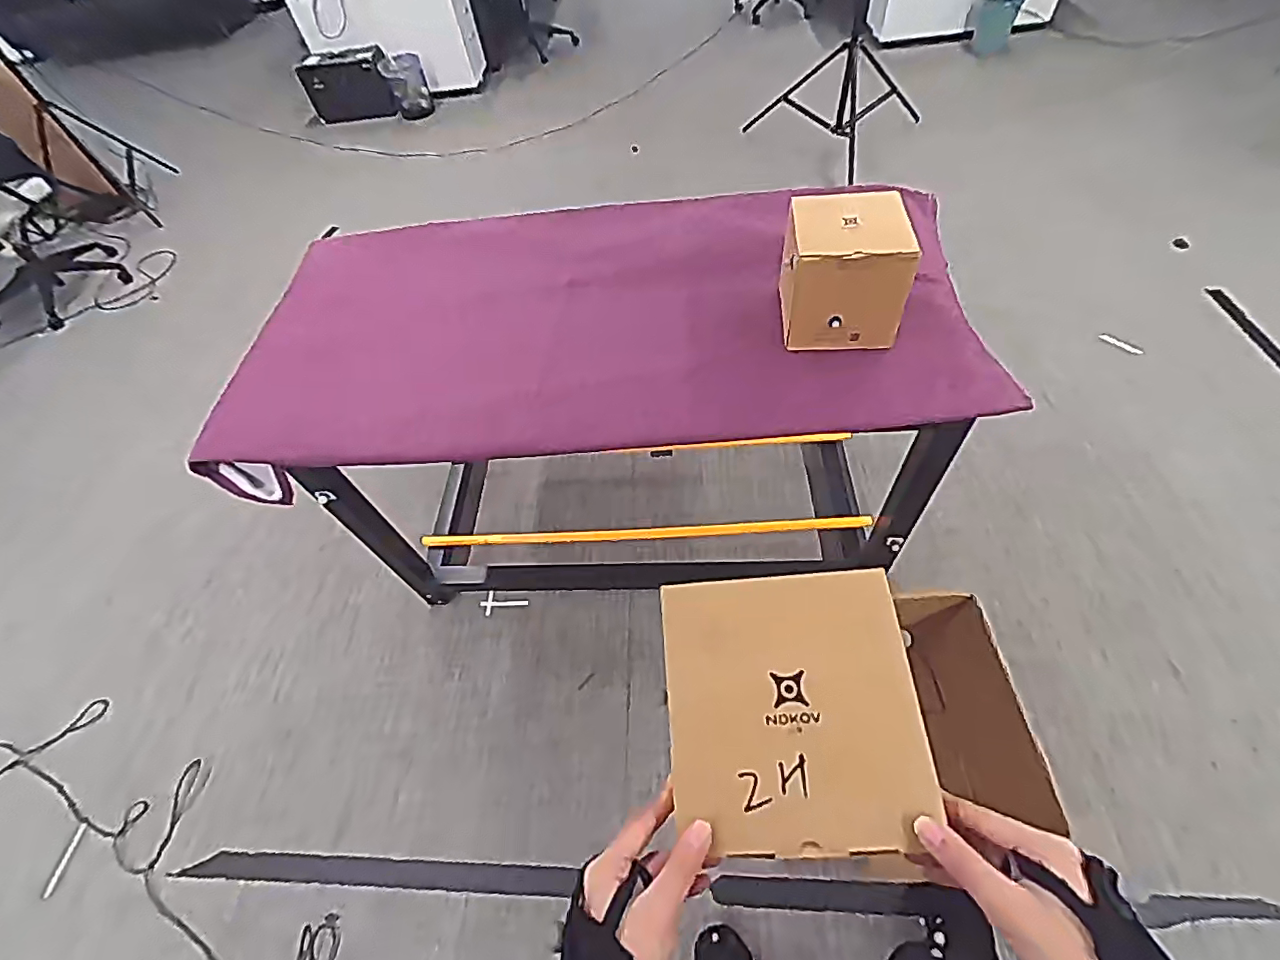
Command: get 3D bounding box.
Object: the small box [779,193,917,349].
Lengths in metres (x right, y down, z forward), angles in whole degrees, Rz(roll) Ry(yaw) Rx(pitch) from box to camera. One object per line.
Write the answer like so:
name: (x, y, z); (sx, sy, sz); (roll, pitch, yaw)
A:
small box: (0.316, -0.330, 0.864); (0.168, 0.176, 0.179); (0, 53, 8)

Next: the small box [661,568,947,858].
small box: (0.110, 0.183, 0.436); (0.168, 0.176, 0.179); (-7, 65, 7)
